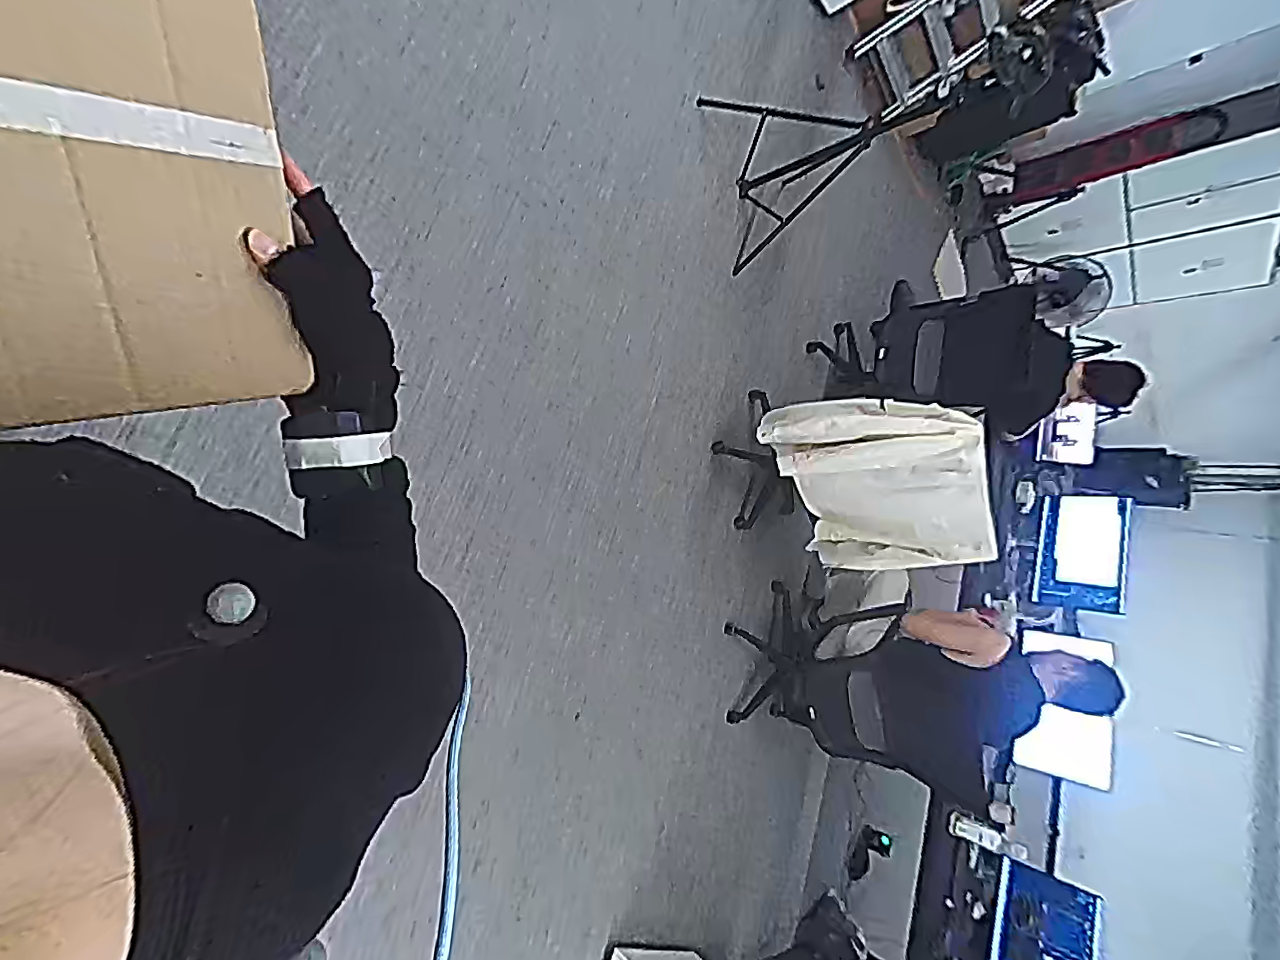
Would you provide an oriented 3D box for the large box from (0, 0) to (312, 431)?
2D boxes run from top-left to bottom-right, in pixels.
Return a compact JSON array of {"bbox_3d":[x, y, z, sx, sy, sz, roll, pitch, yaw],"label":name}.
[{"bbox_3d":[-0.481,-0.202,0.299,0.408,0.320,0.320,-21,124,-46],"label":"large box"}]
